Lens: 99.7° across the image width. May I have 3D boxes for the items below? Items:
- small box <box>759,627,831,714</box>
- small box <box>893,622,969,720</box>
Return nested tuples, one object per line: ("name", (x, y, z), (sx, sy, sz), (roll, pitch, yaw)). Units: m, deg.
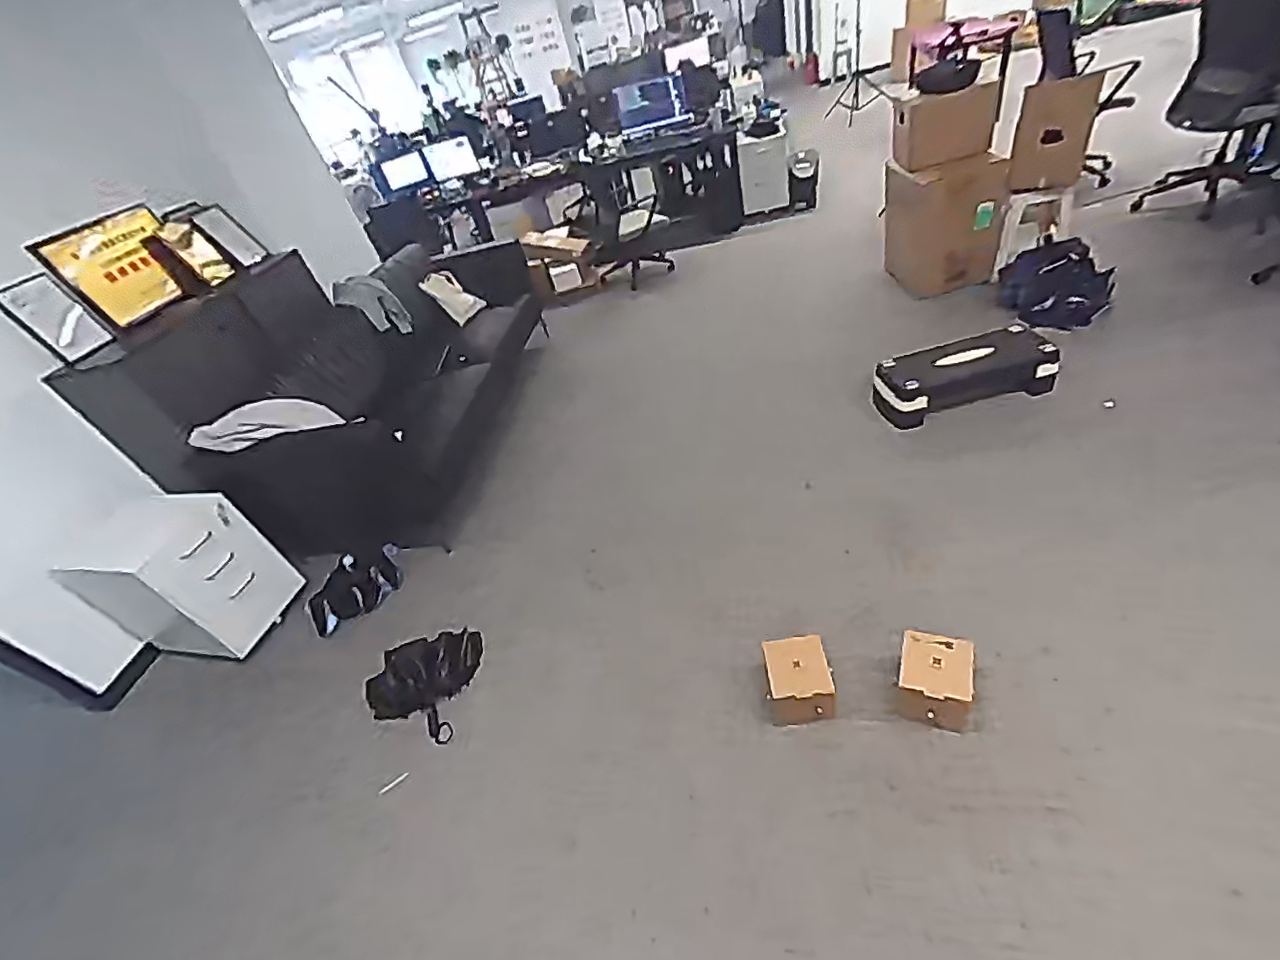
("small box", (0.445, 0.552, 1.548), (0.168, 0.176, 0.179), (-11, 39, 7))
("small box", (0.781, 0.516, 1.456), (0.168, 0.176, 0.179), (6, 46, 28))
